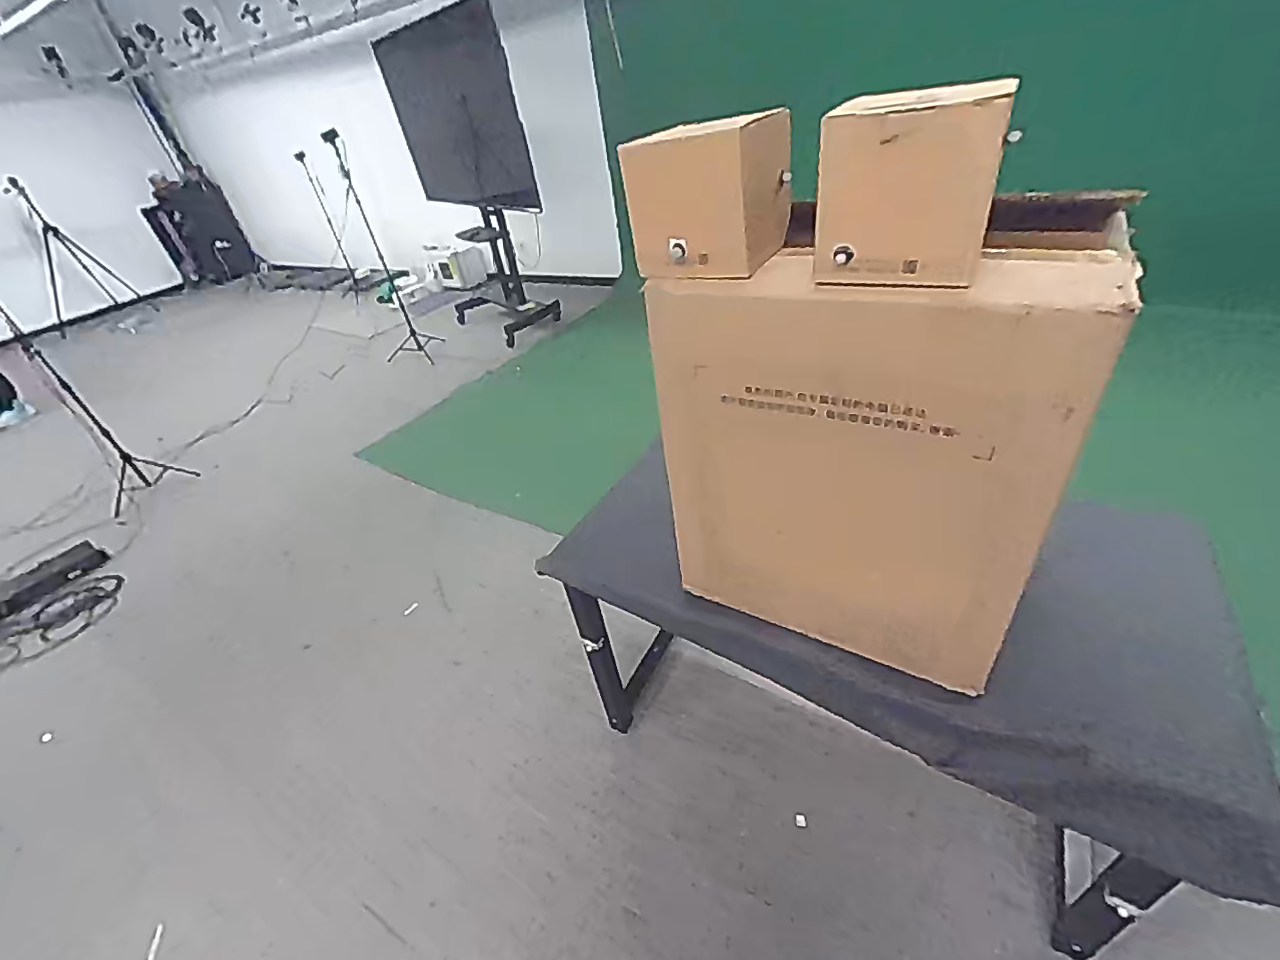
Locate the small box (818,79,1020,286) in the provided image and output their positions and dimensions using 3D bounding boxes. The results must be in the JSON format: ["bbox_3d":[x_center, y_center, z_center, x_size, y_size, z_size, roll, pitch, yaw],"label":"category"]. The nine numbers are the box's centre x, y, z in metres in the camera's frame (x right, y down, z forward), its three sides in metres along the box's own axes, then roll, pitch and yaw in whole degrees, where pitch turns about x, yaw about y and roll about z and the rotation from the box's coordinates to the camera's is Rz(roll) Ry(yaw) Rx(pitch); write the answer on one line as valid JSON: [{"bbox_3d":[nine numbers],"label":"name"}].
[{"bbox_3d":[0.306,-0.328,0.608,0.168,0.176,0.179,14,42,28],"label":"small box"}]

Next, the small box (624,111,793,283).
[{"bbox_3d":[0.101,-0.382,0.738,0.168,0.176,0.179,11,42,30],"label":"small box"}]
